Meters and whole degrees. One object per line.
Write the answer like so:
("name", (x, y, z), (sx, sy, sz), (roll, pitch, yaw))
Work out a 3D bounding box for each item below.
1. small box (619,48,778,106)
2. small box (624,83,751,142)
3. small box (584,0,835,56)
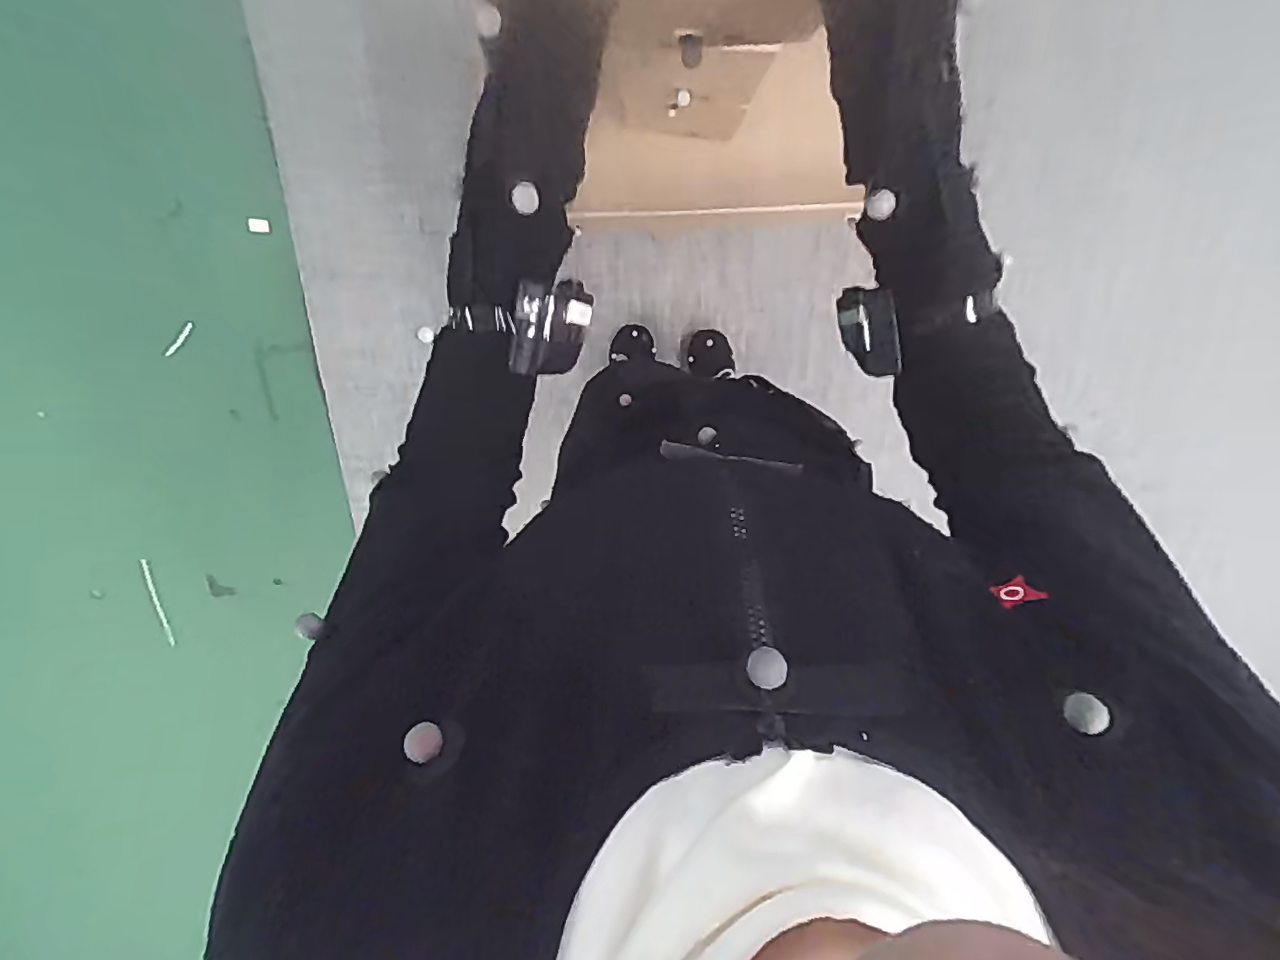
("small box", (0.062, -0.537, 0.582), (0.168, 0.176, 0.179), (3, 110, 0))
("small box", (0.070, -0.591, 0.737), (0.168, 0.176, 0.179), (6, 109, 0))
("small box", (0.040, -0.376, 0.309), (0.168, 0.176, 0.179), (-1, 117, 4))
